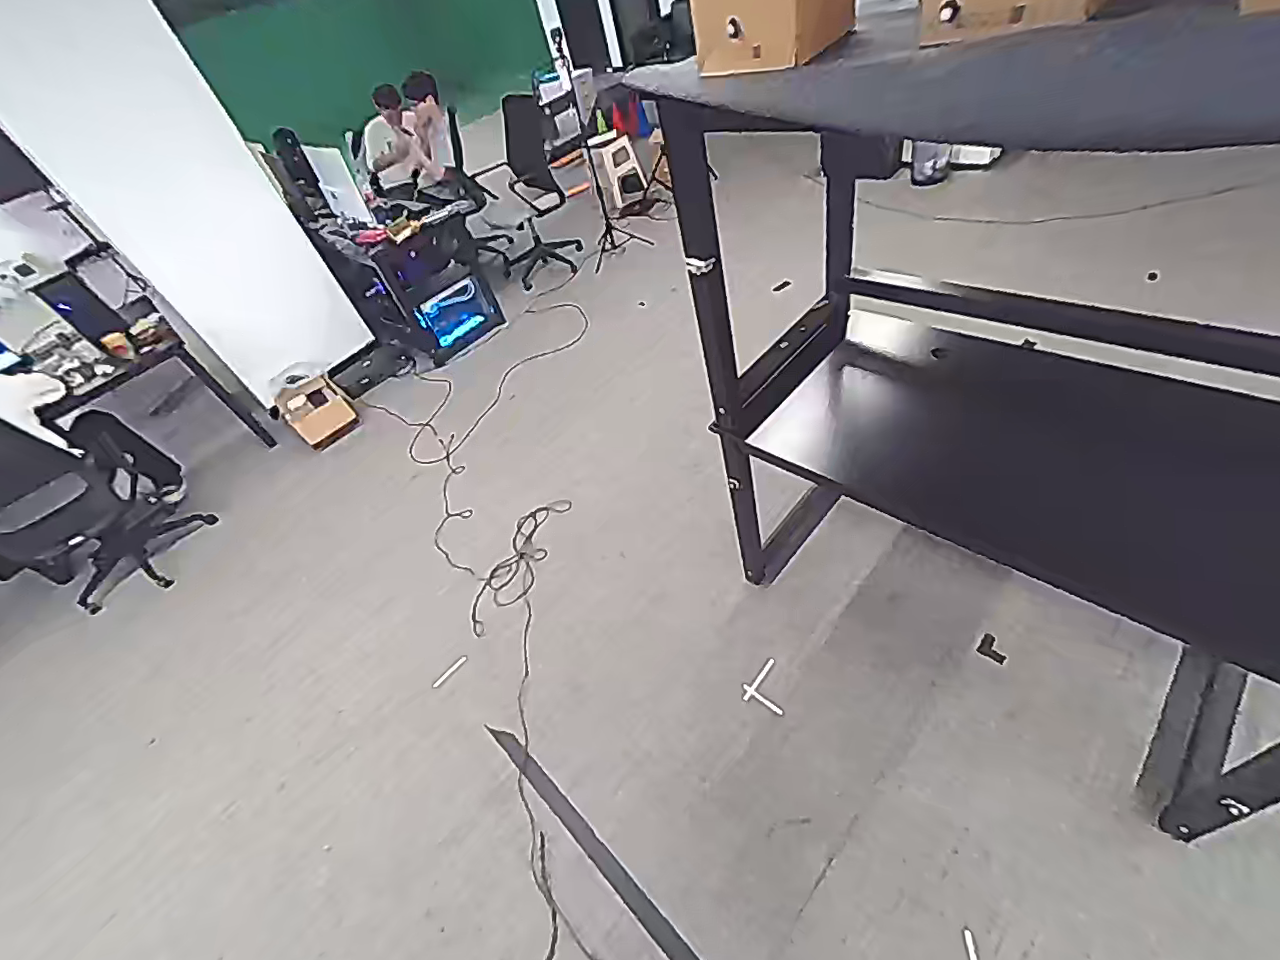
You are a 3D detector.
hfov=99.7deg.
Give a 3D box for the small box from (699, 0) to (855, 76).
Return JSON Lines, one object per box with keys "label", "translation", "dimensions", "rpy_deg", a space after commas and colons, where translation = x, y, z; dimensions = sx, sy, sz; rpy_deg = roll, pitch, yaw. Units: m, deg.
{"label": "small box", "translation": [0.189, -0.688, 0.750], "dimensions": [0.168, 0.176, 0.179], "rpy_deg": [25, 60, 35]}
